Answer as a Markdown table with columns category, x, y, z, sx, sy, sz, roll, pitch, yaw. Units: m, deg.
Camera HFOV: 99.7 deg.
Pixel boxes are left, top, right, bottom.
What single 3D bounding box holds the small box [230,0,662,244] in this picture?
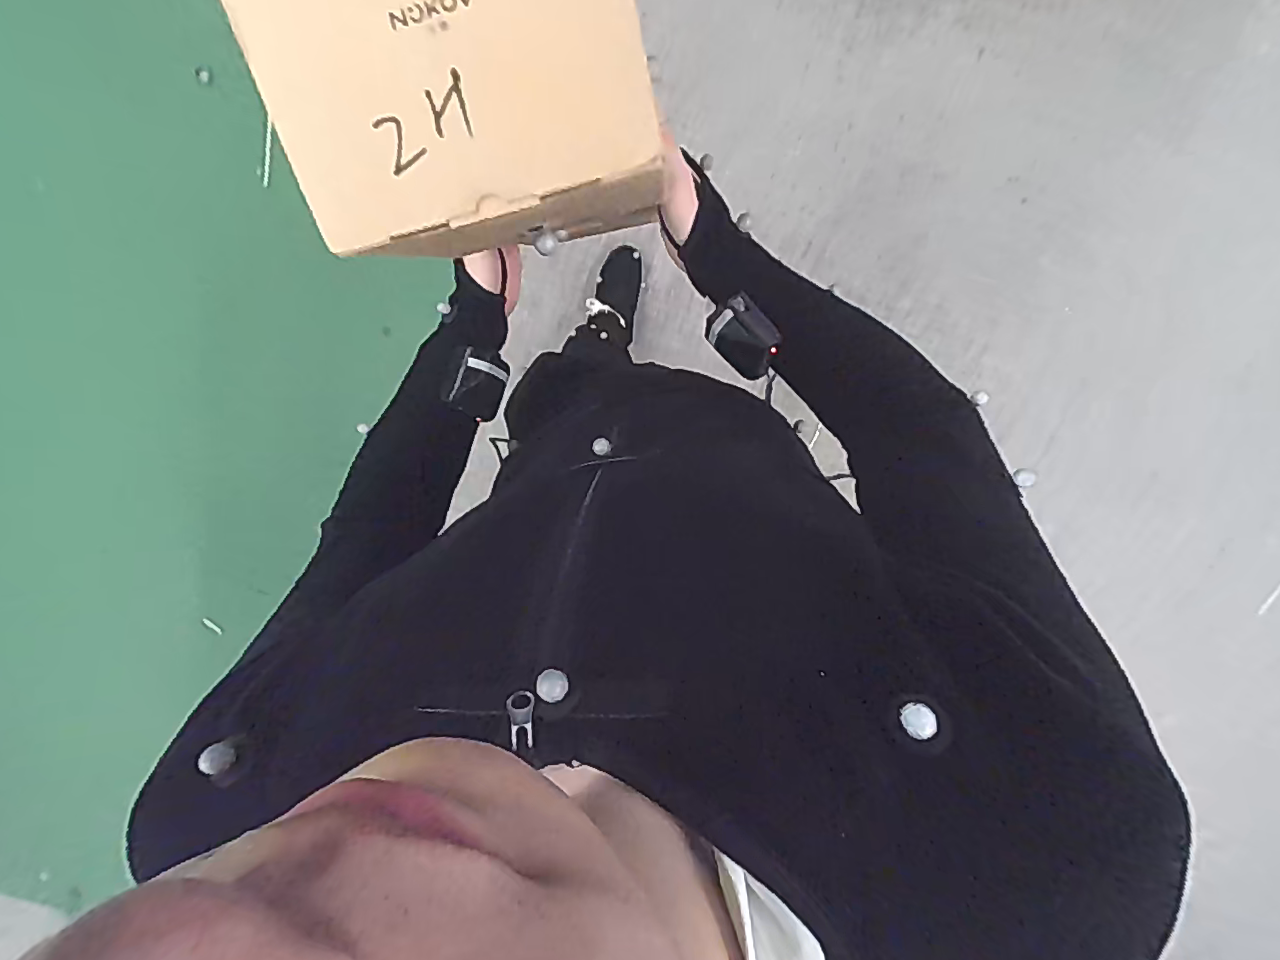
| category | x | y | z | sx | sy | sz | roll | pitch | yaw |
| --- | --- | --- | --- | --- | --- | --- | --- | --- | --- |
| small box | -0.084 | -0.238 | 0.291 | 0.168 | 0.176 | 0.179 | -11 | 112 | 8 |

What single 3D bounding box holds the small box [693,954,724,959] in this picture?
| category | x | y | z | sx | sy | sz | roll | pitch | yaw |
| --- | --- | --- | --- | --- | --- | --- | --- | --- | --- |
| small box | 0.174 | 1.173 | 1.159 | 0.168 | 0.176 | 0.179 | 16 | 108 | -1 |
